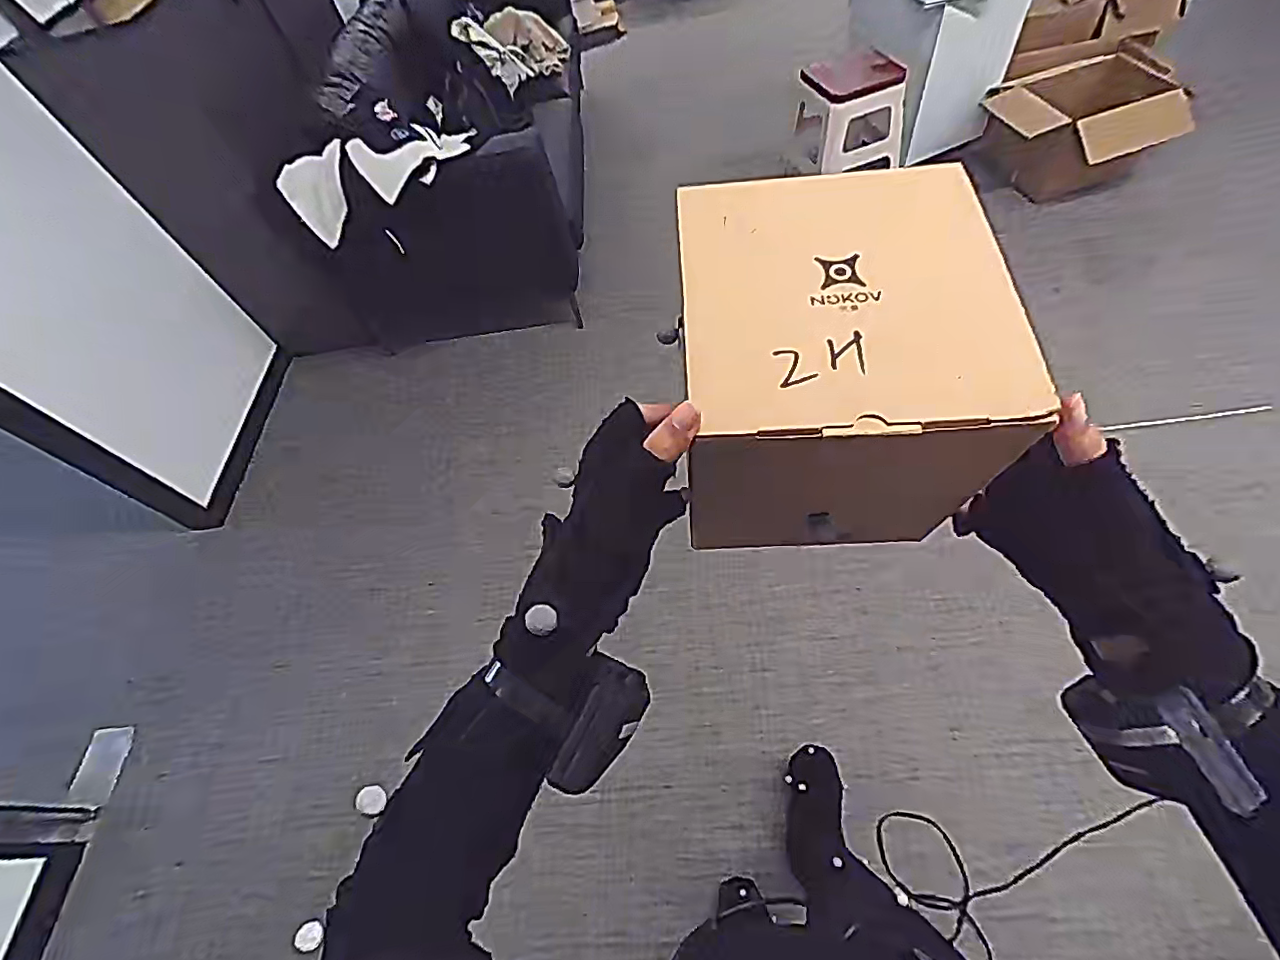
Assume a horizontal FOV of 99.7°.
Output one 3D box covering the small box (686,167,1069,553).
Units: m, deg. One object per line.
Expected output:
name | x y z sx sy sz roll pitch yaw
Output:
small box | 0.115 -0.064 0.352 0.168 0.176 0.179 -4 64 5
